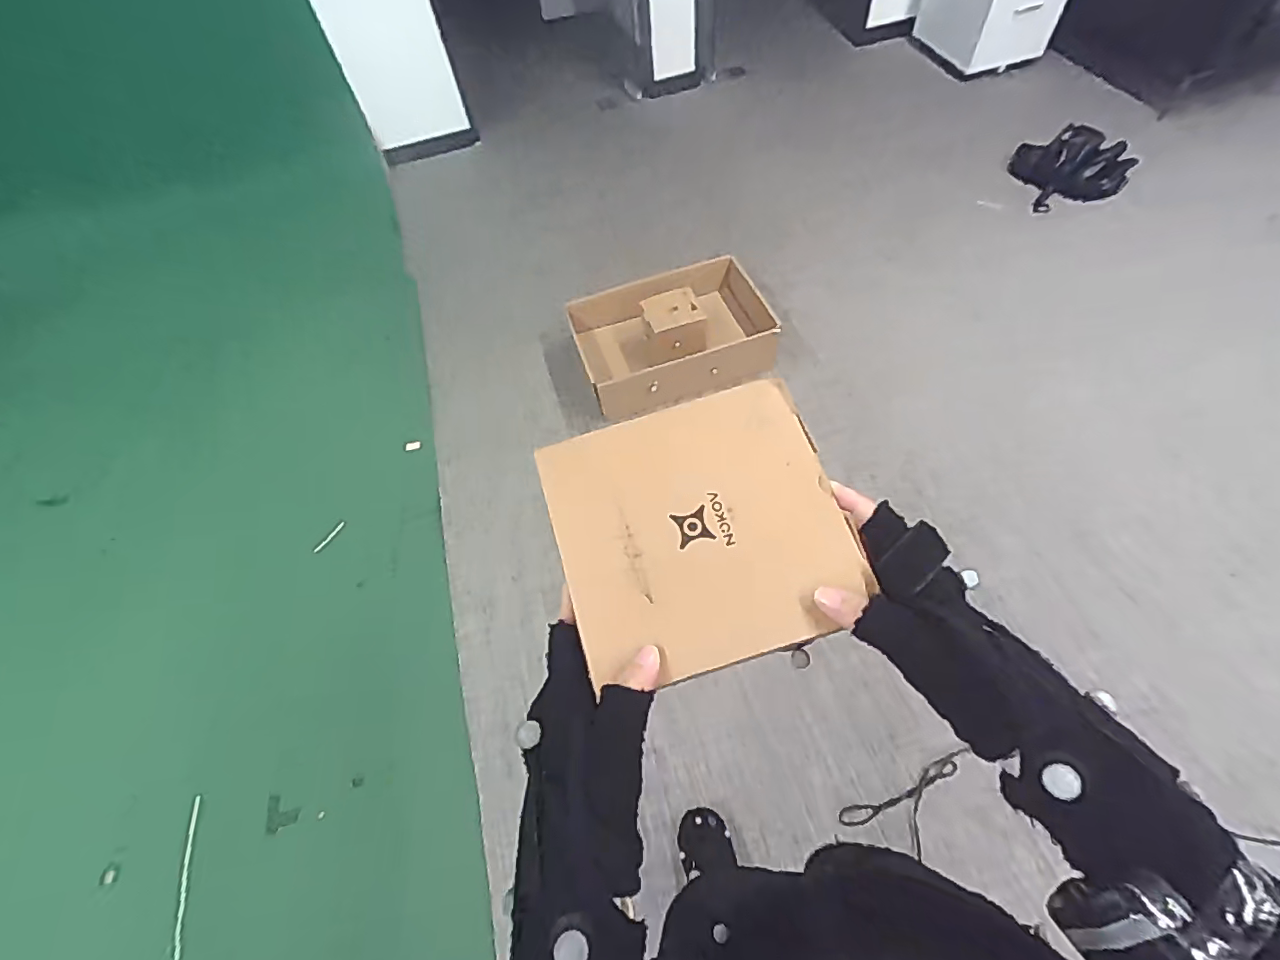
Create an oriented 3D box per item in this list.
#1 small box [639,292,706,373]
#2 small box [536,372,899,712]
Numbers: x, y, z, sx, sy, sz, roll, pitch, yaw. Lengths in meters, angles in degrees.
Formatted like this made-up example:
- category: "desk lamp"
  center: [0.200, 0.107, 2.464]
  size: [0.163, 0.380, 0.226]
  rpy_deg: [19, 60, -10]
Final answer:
- category: "small box"
  center: [0.111, -0.484, 1.792]
  size: [0.179, 0.176, 0.168]
  rpy_deg: [-20, 57, -6]
- category: "small box"
  center: [0.044, 0.054, 0.401]
  size: [0.179, 0.176, 0.168]
  rpy_deg: [-21, 69, -4]
